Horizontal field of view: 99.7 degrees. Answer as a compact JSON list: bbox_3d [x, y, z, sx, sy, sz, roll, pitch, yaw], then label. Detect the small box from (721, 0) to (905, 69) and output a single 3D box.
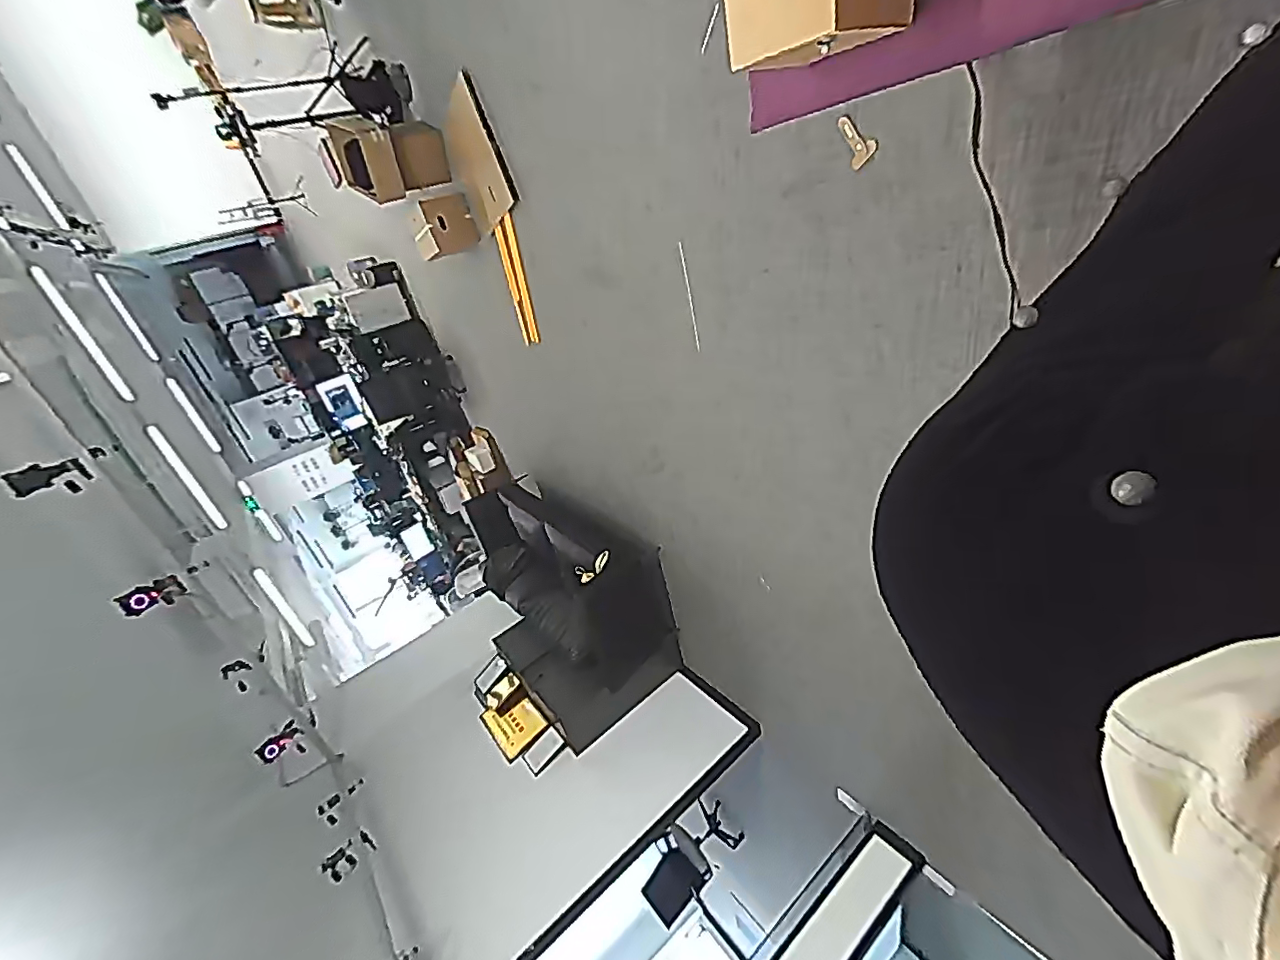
[{"bbox_3d":[0.223,-0.663,0.708,0.179,0.176,0.168,24,135,48],"label":"small box"}]
